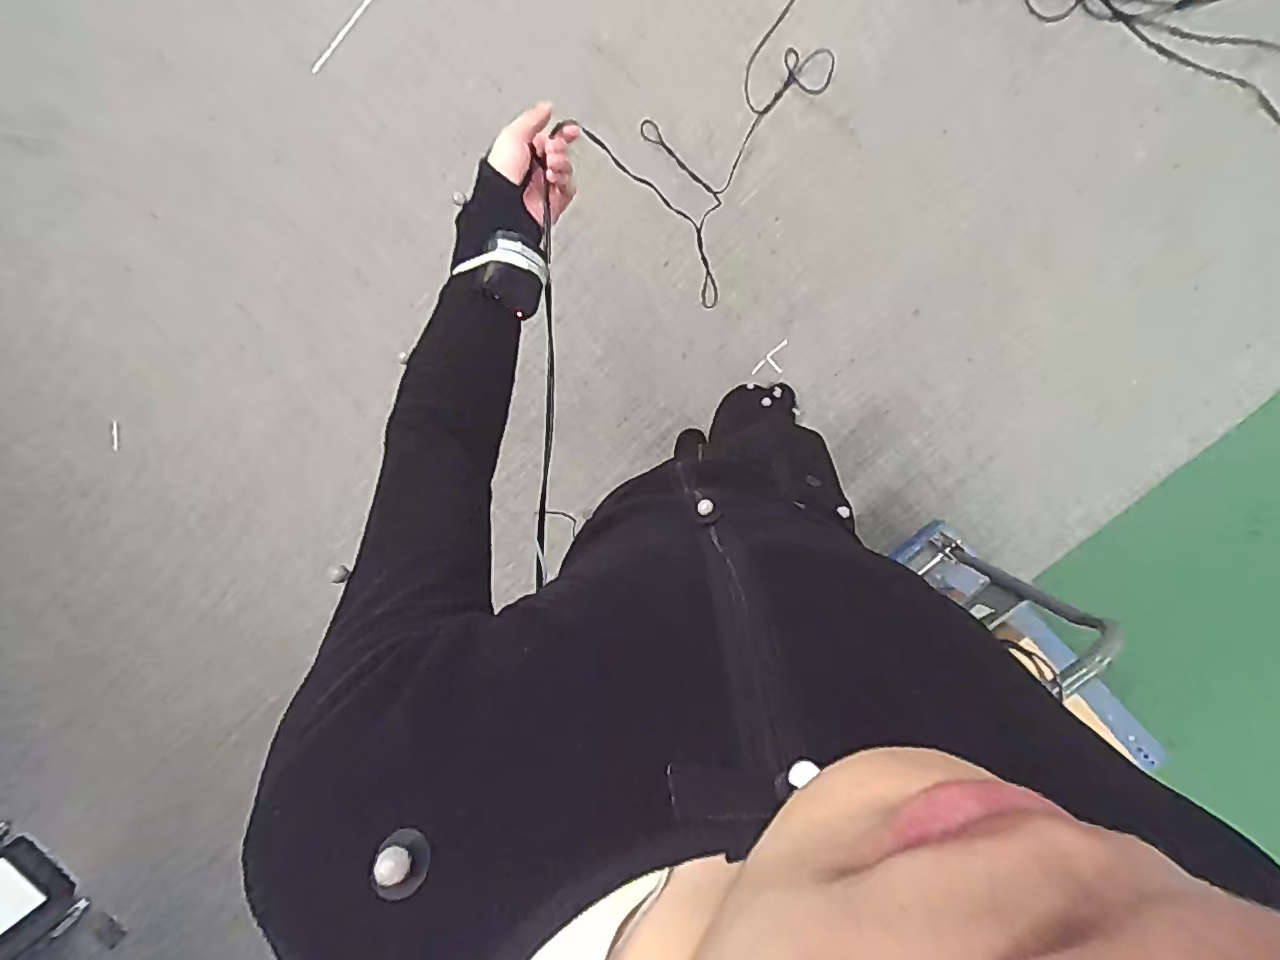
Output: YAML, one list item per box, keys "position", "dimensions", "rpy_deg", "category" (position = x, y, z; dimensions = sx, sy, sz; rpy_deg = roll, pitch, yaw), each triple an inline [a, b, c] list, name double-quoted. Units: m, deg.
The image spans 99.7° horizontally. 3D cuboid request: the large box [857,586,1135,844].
- position: [0.809, 0.533, 1.295]
  dimensions: [0.320, 0.320, 0.408]
  rpy_deg: [-41, 93, 9]
  category: "large box"
